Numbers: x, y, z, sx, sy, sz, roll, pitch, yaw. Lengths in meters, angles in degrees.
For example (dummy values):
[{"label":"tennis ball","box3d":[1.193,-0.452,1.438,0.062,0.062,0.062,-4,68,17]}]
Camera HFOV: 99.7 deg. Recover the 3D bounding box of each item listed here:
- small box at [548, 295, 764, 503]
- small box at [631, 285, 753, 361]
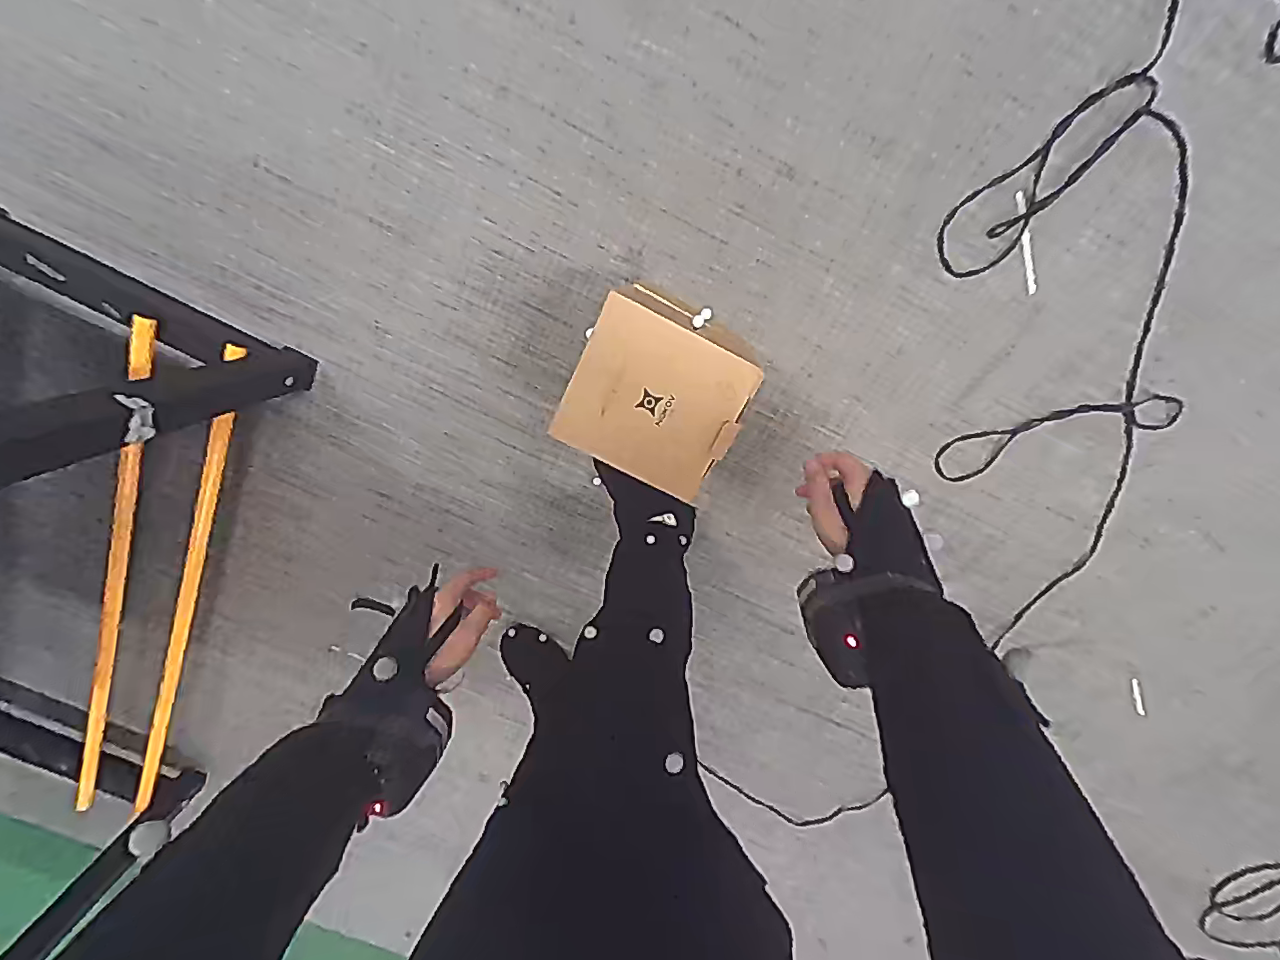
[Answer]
[{"label":"small box","box3d":[0.020,-0.105,0.630,0.179,0.176,0.168,26,110,-4]},{"label":"small box","box3d":[0.036,-0.168,0.779,0.179,0.176,0.168,28,110,-8]}]
